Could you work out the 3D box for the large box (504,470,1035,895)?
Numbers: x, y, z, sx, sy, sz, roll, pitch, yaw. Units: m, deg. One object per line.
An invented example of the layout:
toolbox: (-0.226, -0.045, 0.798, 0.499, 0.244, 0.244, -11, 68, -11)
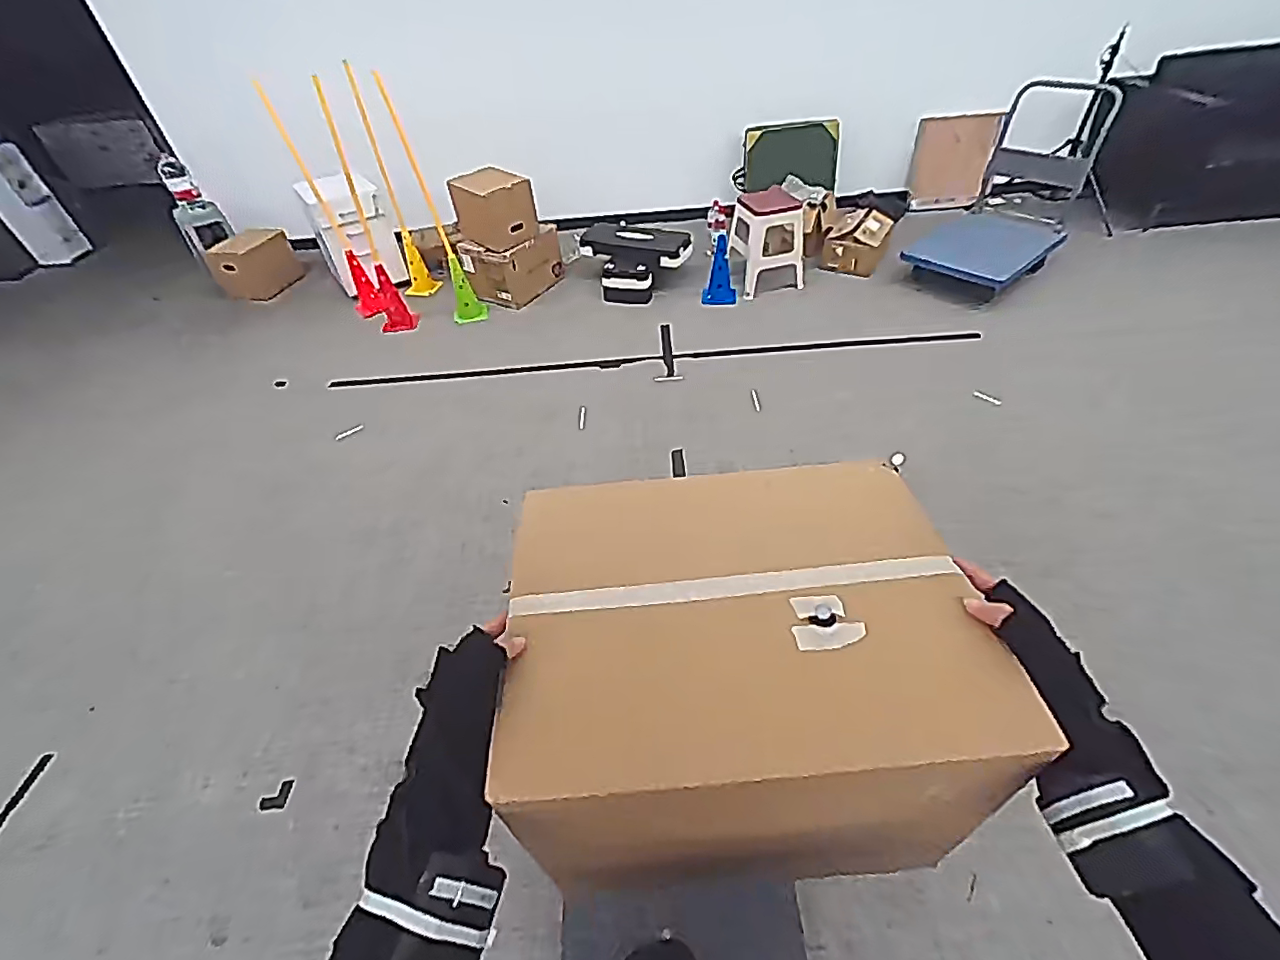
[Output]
large box: (0.095, 0.219, 0.602, 0.408, 0.320, 0.320, -6, 42, 0)
